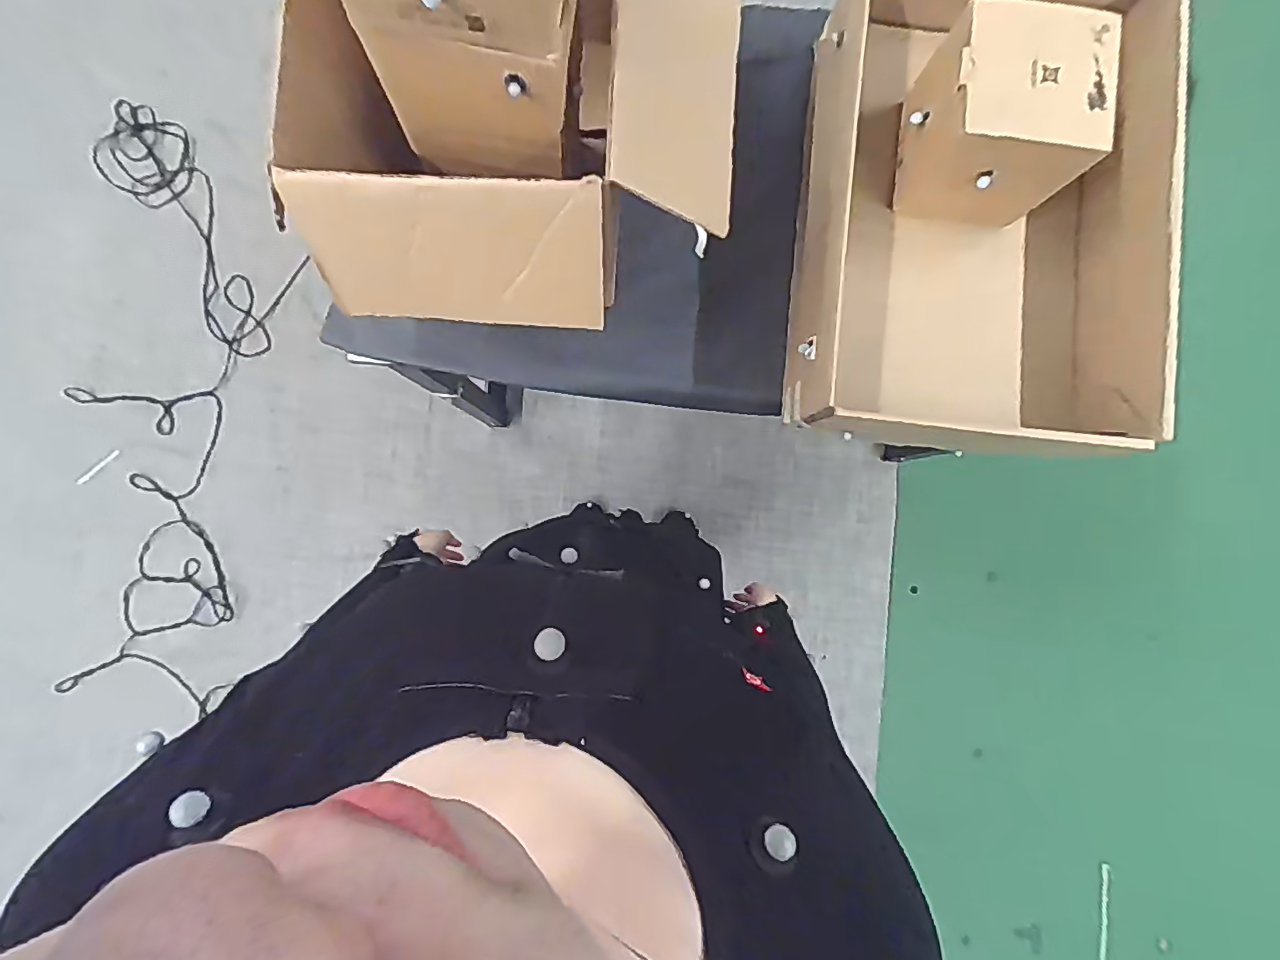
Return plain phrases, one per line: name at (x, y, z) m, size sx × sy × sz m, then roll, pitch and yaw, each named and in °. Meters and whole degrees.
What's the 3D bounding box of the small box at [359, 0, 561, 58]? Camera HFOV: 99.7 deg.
small box at (-0.137, -0.459, 0.383) m, size 0.168 × 0.176 × 0.179 m, roll 4°, pitch 86°, yaw -6°
